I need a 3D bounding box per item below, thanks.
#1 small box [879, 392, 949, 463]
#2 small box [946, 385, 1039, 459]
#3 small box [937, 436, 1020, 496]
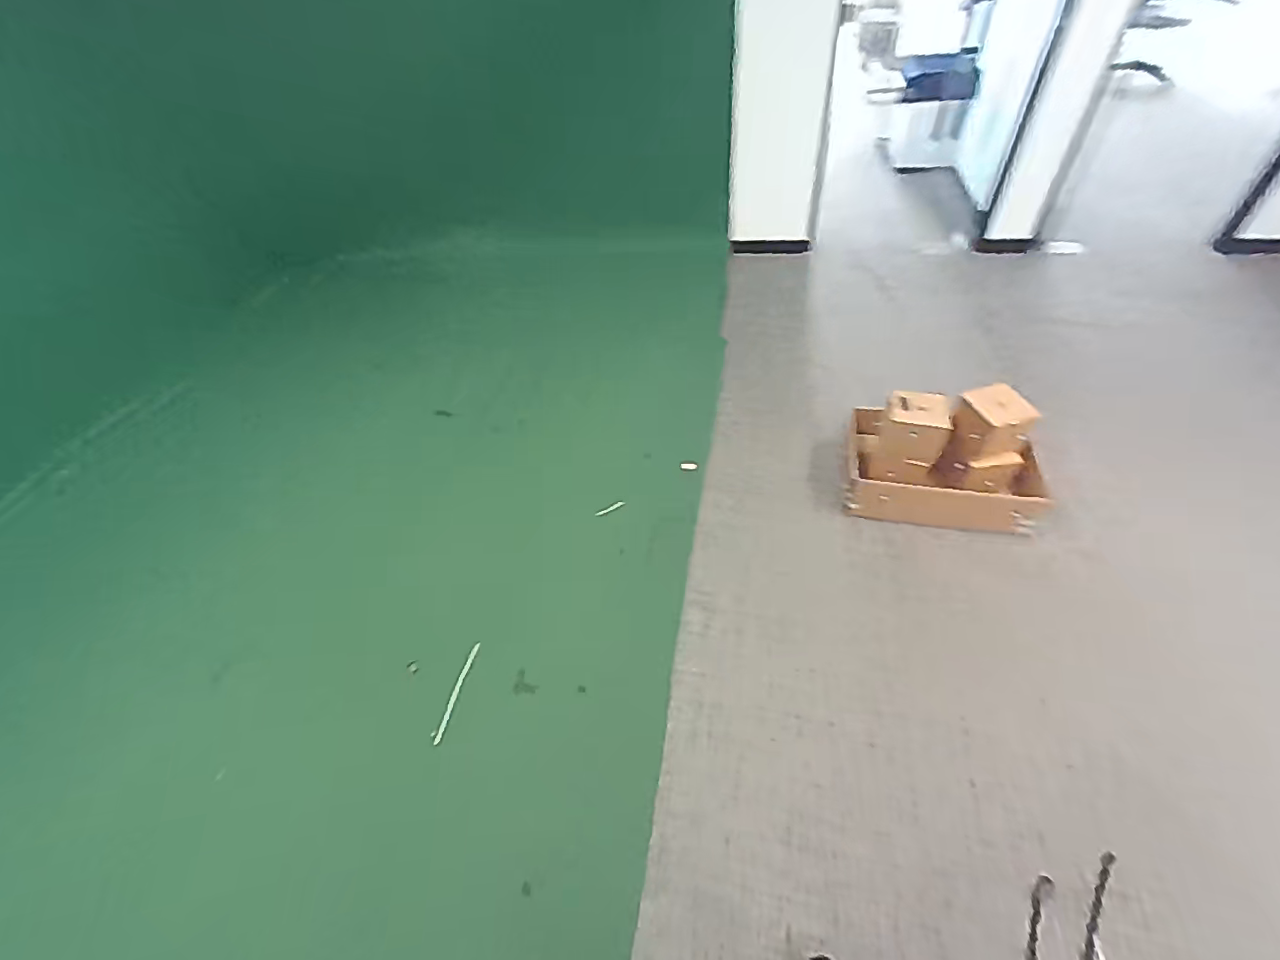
[{"bbox_3d":[0.923,-0.175,1.837,0.179,0.176,0.168,10,49,14],"label":"small box"},{"bbox_3d":[1.176,-0.187,1.818,0.168,0.176,0.179,-14,48,-6],"label":"small box"},{"bbox_3d":[1.193,-0.055,1.918,0.168,0.176,0.179,-7,48,1],"label":"small box"}]
